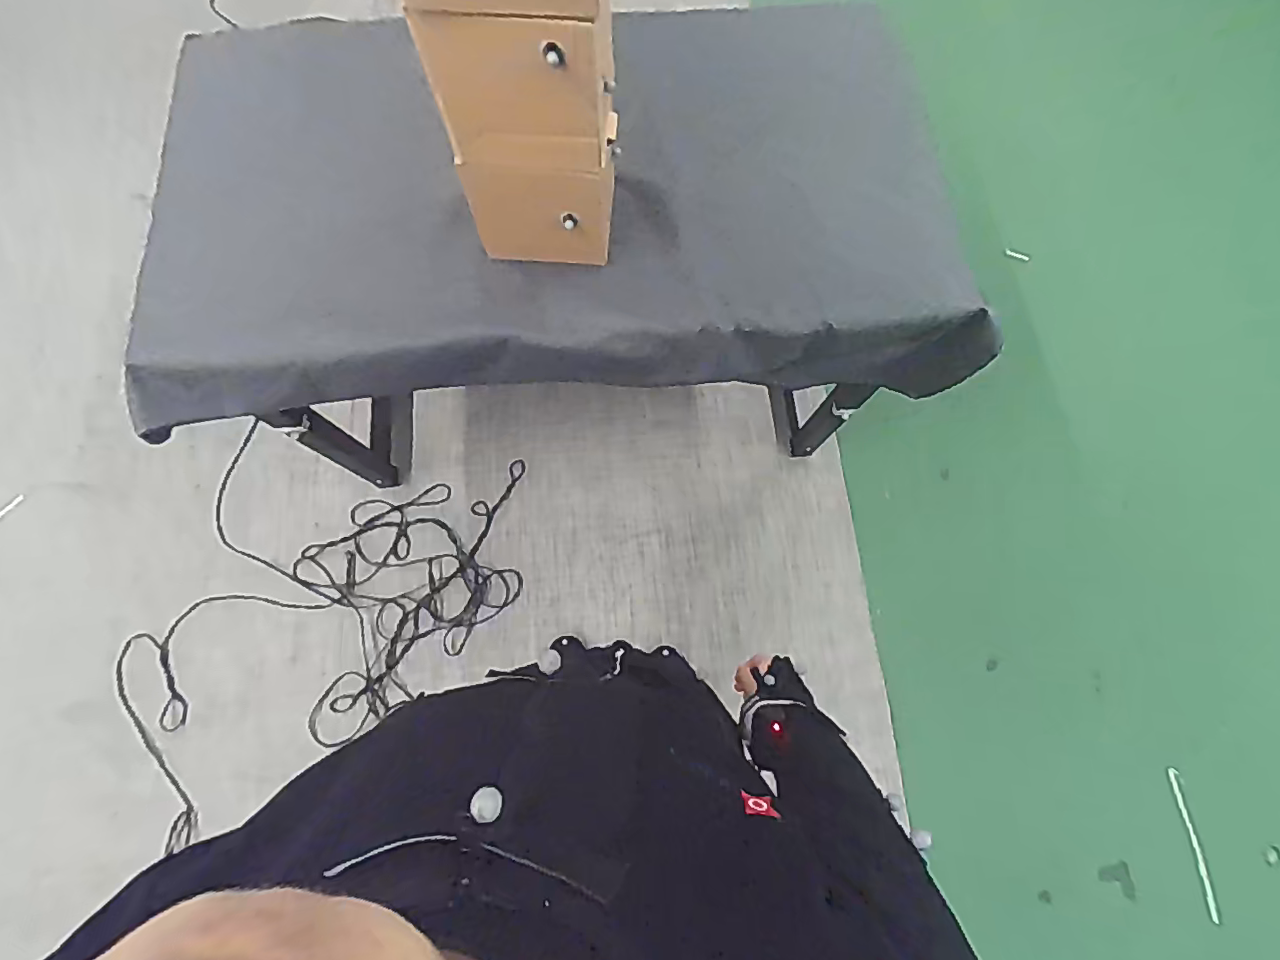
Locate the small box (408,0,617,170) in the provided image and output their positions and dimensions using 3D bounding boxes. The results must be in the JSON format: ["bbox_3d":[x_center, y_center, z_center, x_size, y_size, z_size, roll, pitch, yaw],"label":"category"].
[{"bbox_3d":[-0.119,-0.468,0.583,0.179,0.176,0.168,4,73,-1],"label":"small box"}]

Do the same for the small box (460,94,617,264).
[{"bbox_3d":[-0.123,-0.418,0.738,0.179,0.176,0.168,3,73,0],"label":"small box"}]
